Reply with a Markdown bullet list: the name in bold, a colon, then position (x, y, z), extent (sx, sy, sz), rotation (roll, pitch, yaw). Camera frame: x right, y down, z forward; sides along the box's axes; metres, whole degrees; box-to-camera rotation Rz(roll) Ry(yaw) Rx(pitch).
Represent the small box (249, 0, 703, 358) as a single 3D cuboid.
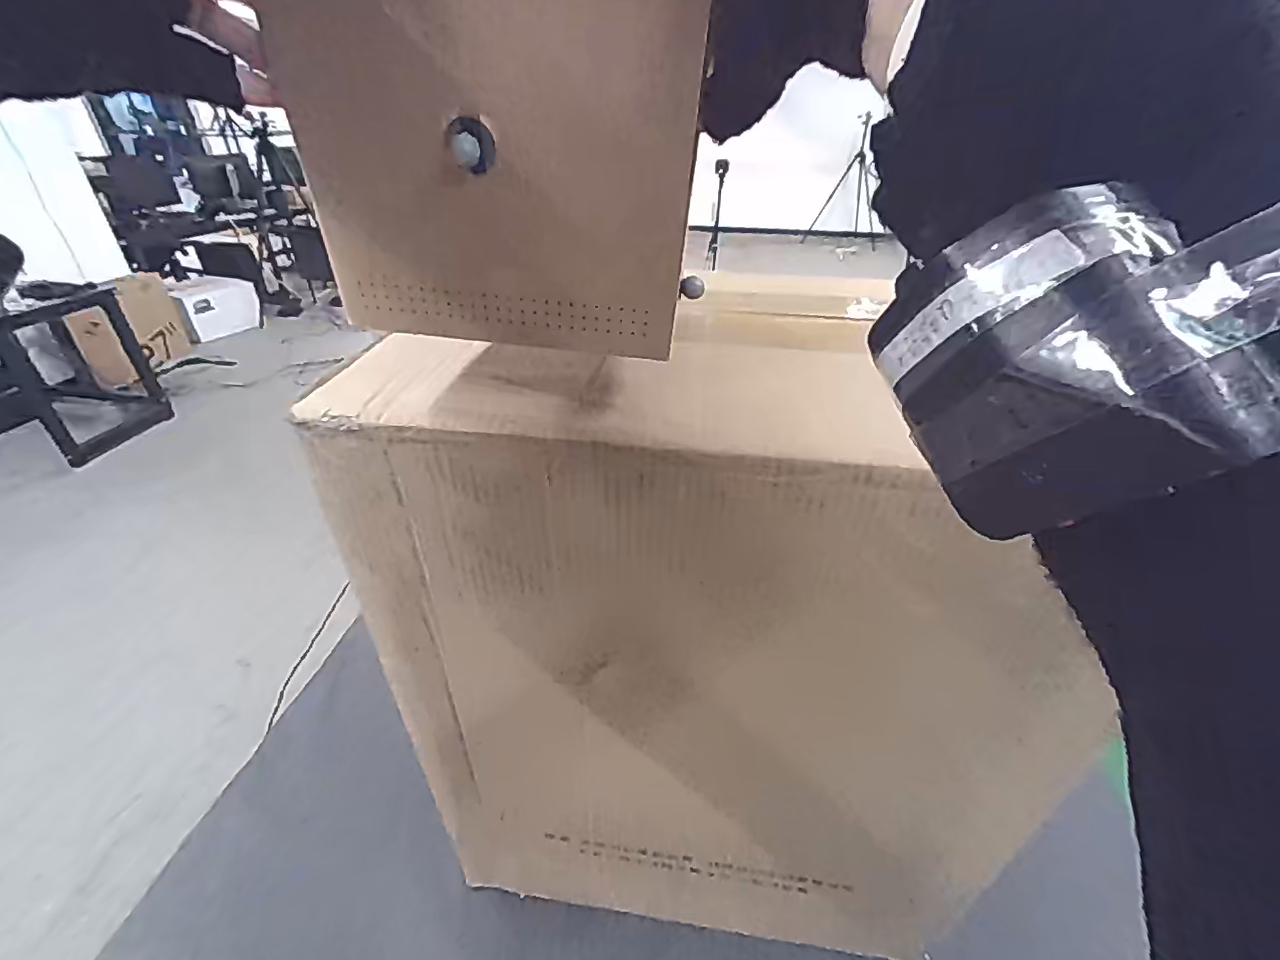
- **small box**: position (-0.063, -0.185, 0.307), extent (0.179, 0.176, 0.168), rotation (5, 43, 1)
